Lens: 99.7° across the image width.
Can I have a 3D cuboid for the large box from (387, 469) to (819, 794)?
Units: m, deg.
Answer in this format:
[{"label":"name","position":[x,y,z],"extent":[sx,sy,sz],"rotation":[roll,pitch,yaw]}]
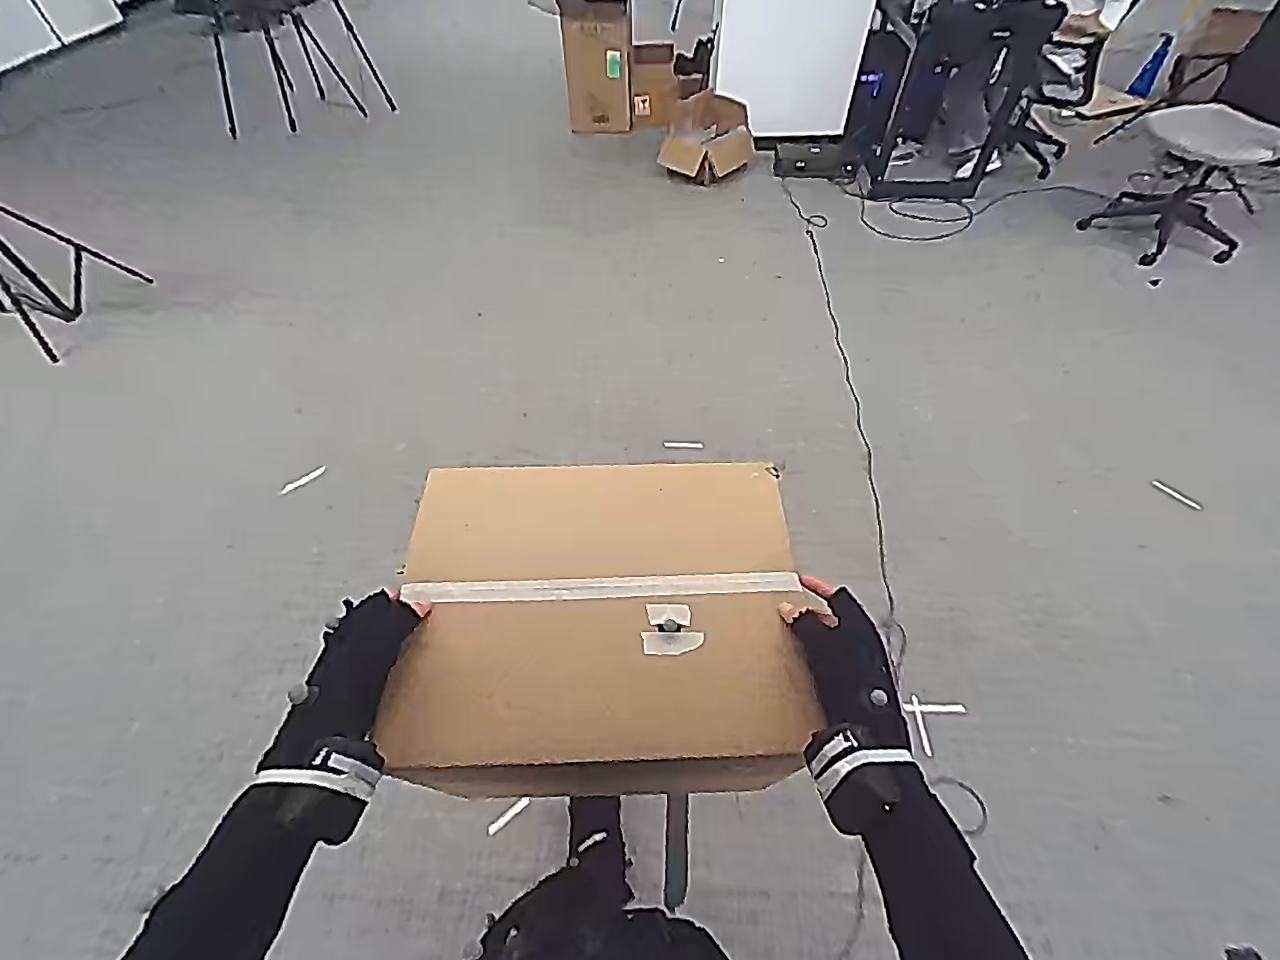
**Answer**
[{"label":"large box","position":[-0.042,0.202,0.695],"extent":[0.408,0.320,0.320],"rotation":[-1,55,-2]}]
